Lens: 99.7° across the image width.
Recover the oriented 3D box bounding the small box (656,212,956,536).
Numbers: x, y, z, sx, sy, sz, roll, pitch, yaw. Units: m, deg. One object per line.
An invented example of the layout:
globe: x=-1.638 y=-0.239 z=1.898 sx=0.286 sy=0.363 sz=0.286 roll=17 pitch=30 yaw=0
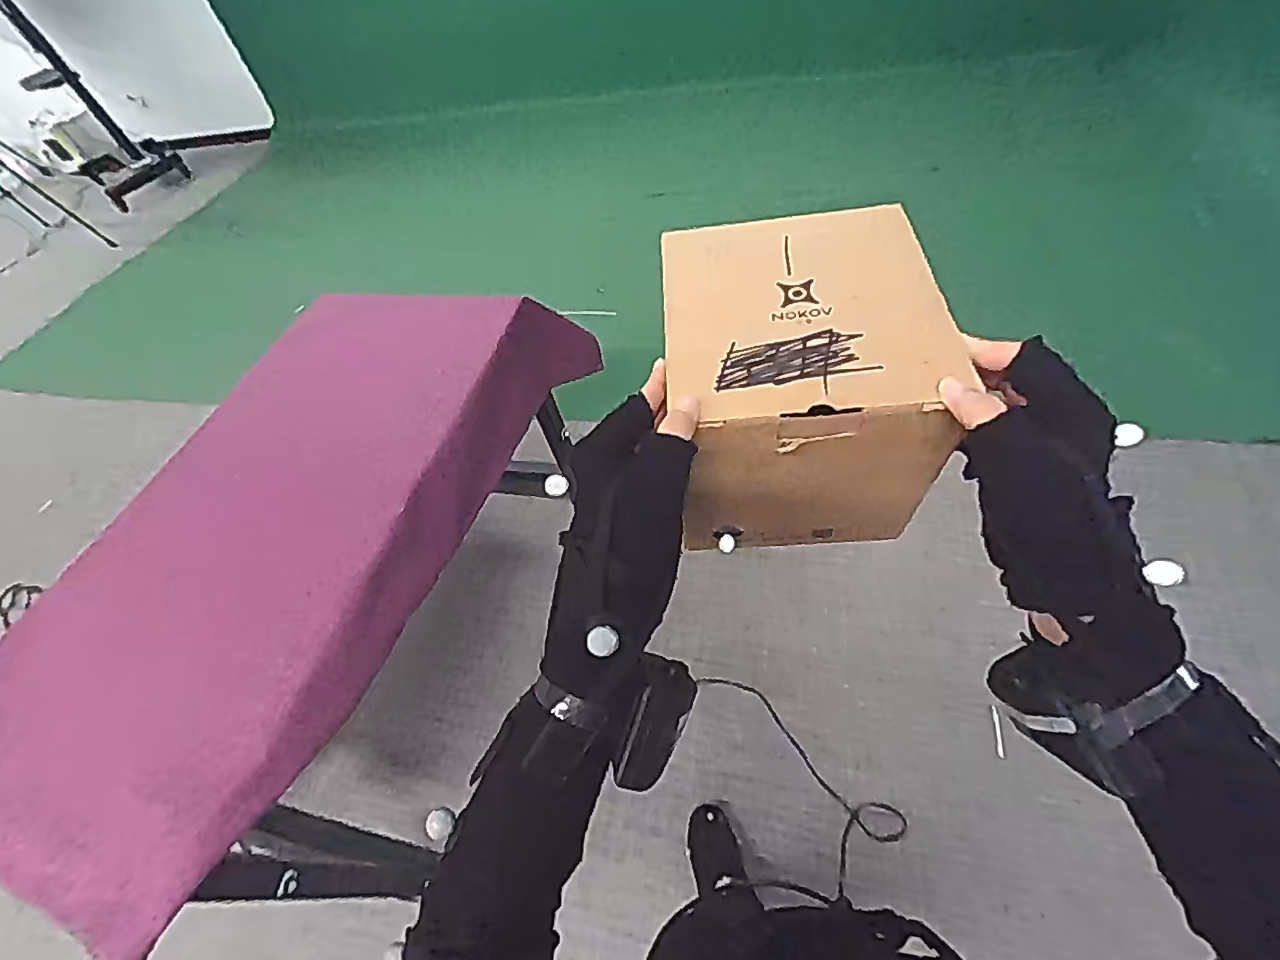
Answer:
small box: x=0.103 y=-0.066 z=0.410 sx=0.168 sy=0.176 sz=0.179 roll=-4 pitch=57 yaw=6
